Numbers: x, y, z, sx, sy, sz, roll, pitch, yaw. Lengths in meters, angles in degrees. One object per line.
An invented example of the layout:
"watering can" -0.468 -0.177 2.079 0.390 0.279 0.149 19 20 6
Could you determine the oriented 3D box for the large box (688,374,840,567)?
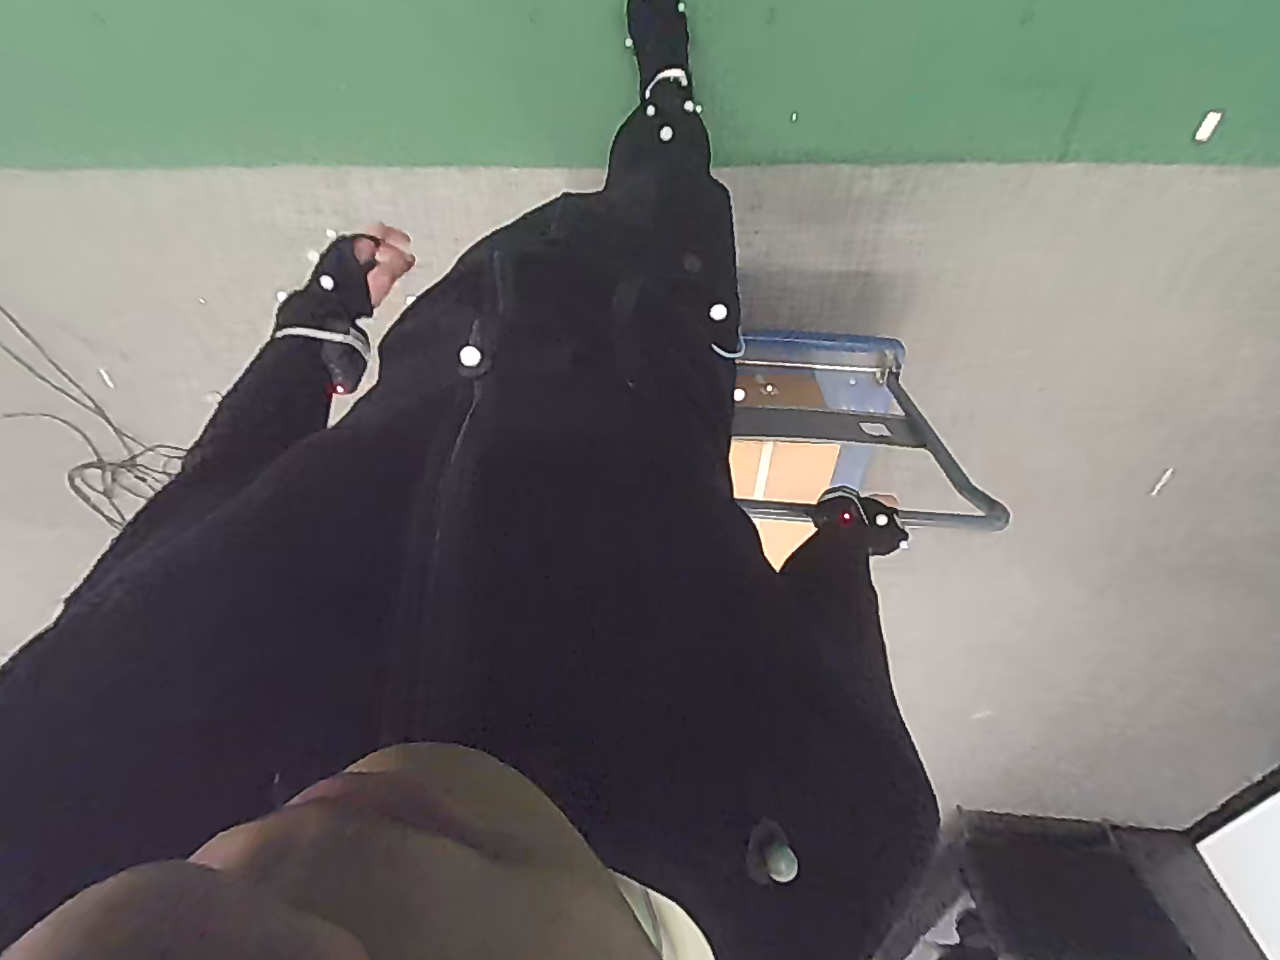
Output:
"large box" 0.291 -0.028 1.408 0.320 0.320 0.408 4 128 3
